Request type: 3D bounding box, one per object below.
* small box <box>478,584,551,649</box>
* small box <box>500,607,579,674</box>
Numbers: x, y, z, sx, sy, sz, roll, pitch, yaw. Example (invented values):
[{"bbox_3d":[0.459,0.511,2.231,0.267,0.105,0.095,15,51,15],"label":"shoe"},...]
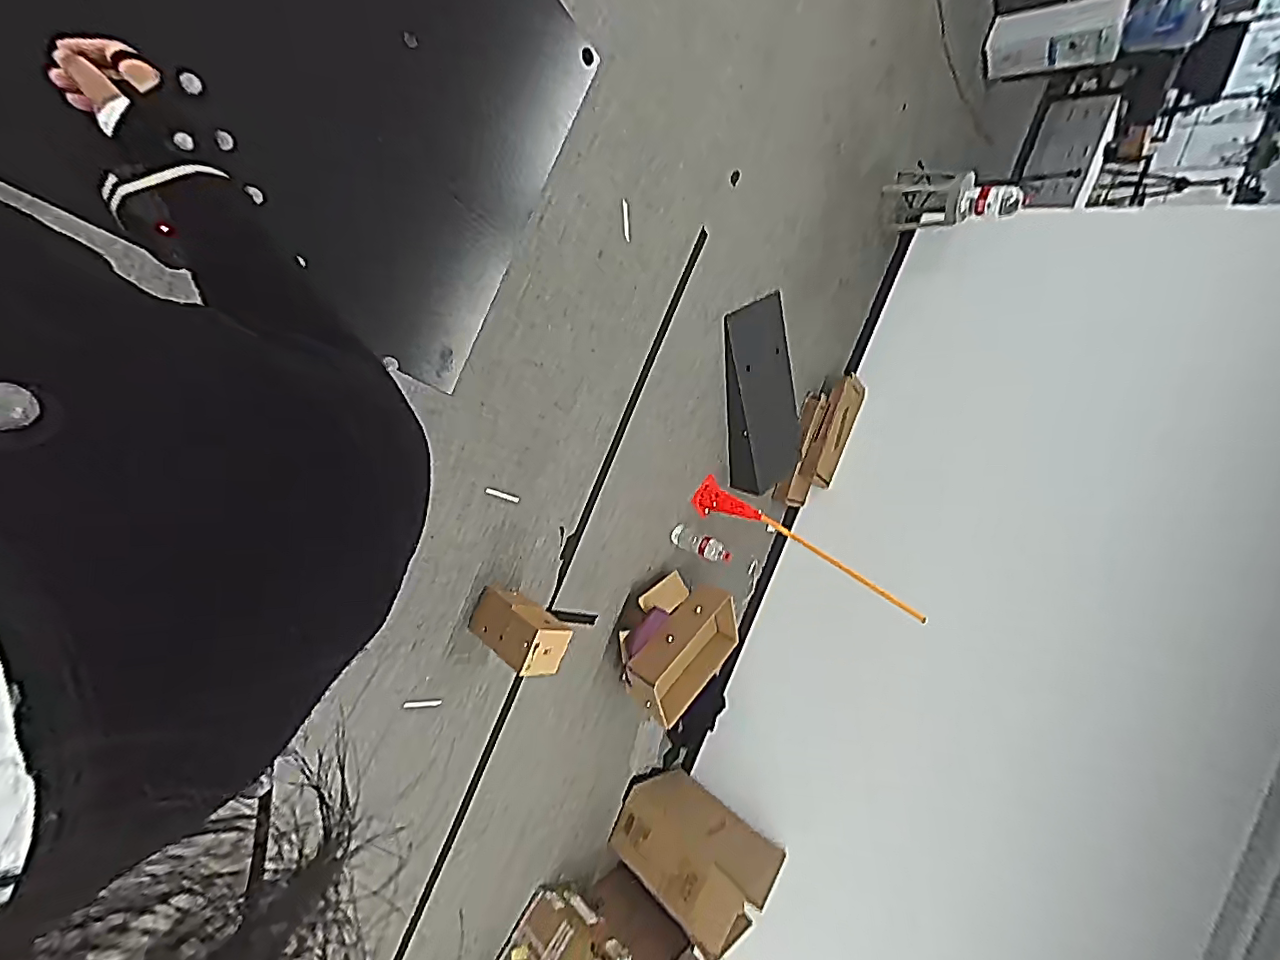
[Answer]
[{"bbox_3d":[-0.467,0.504,1.984,0.168,0.176,0.179,24,87,-52],"label":"small box"},{"bbox_3d":[-0.350,0.554,1.880,0.179,0.176,0.168,22,91,-52],"label":"small box"}]
